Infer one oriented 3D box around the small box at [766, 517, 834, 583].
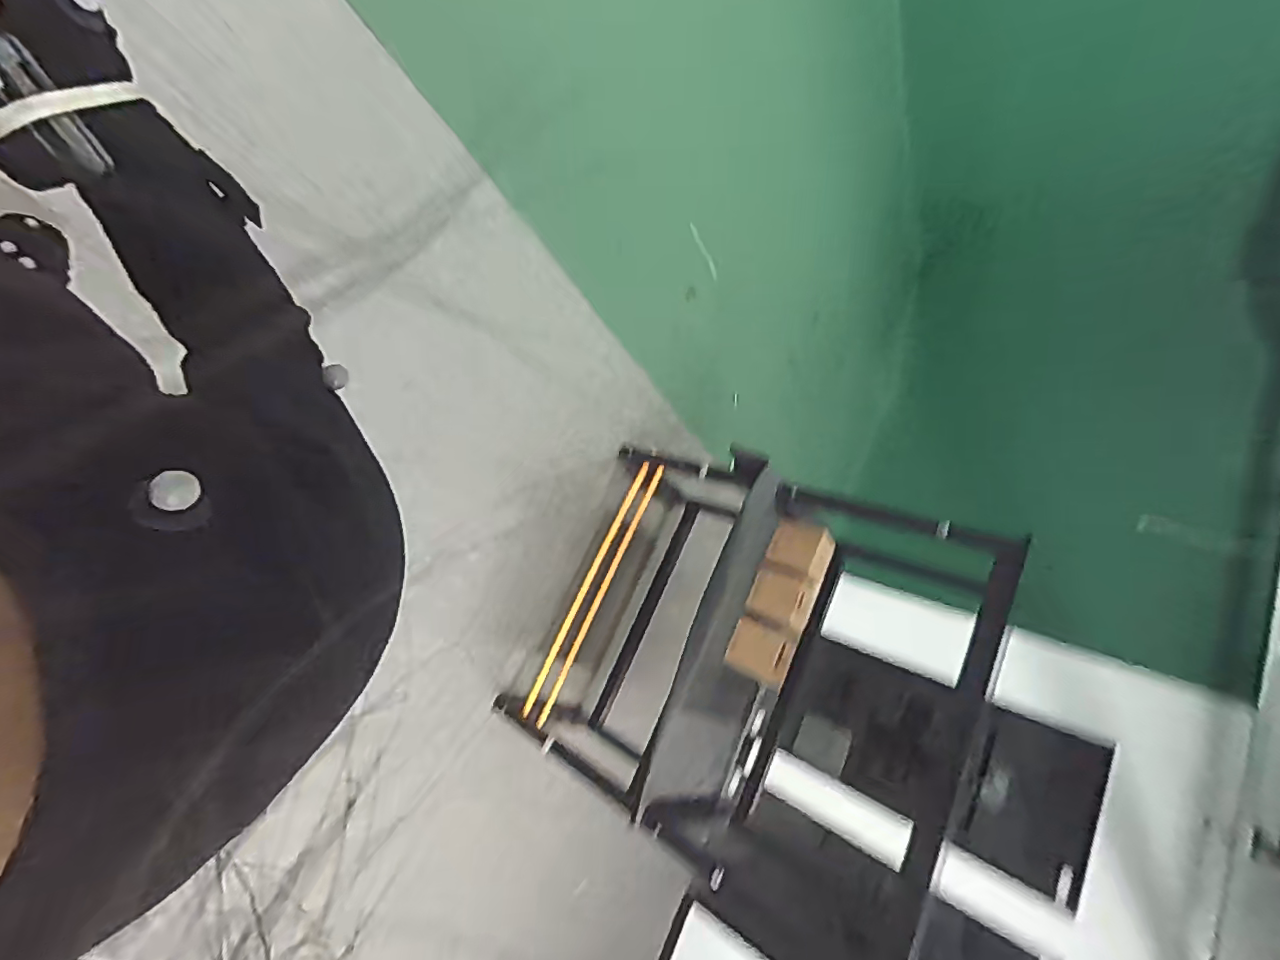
[{"bbox_3d":[0.577,0.250,1.959,0.179,0.176,0.168,44,69,-50],"label":"small box"}]
